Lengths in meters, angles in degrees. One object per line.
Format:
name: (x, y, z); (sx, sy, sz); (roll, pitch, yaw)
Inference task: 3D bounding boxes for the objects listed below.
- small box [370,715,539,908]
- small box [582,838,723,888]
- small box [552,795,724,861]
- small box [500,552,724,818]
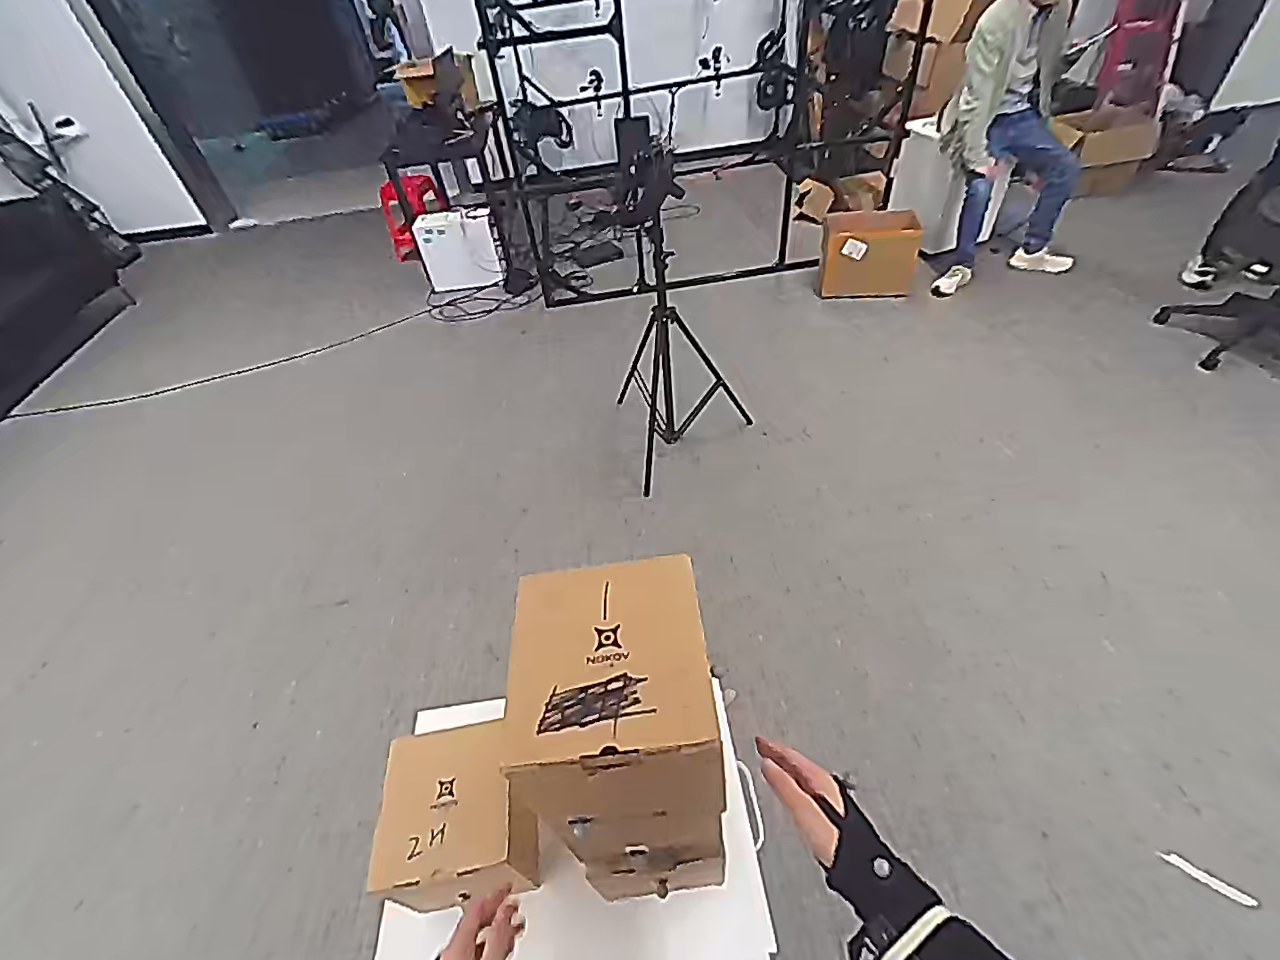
small box: (-0.237, 0.453, 0.740); (0.168, 0.176, 0.179); (-10, 45, -3)
small box: (0.017, 0.431, 0.729); (0.168, 0.176, 0.179); (-9, 46, 1)
small box: (-0.001, 0.309, 0.622); (0.168, 0.176, 0.179); (-9, 45, 1)
small box: (-0.017, 0.195, 0.504); (0.168, 0.176, 0.179); (-8, 43, 2)
